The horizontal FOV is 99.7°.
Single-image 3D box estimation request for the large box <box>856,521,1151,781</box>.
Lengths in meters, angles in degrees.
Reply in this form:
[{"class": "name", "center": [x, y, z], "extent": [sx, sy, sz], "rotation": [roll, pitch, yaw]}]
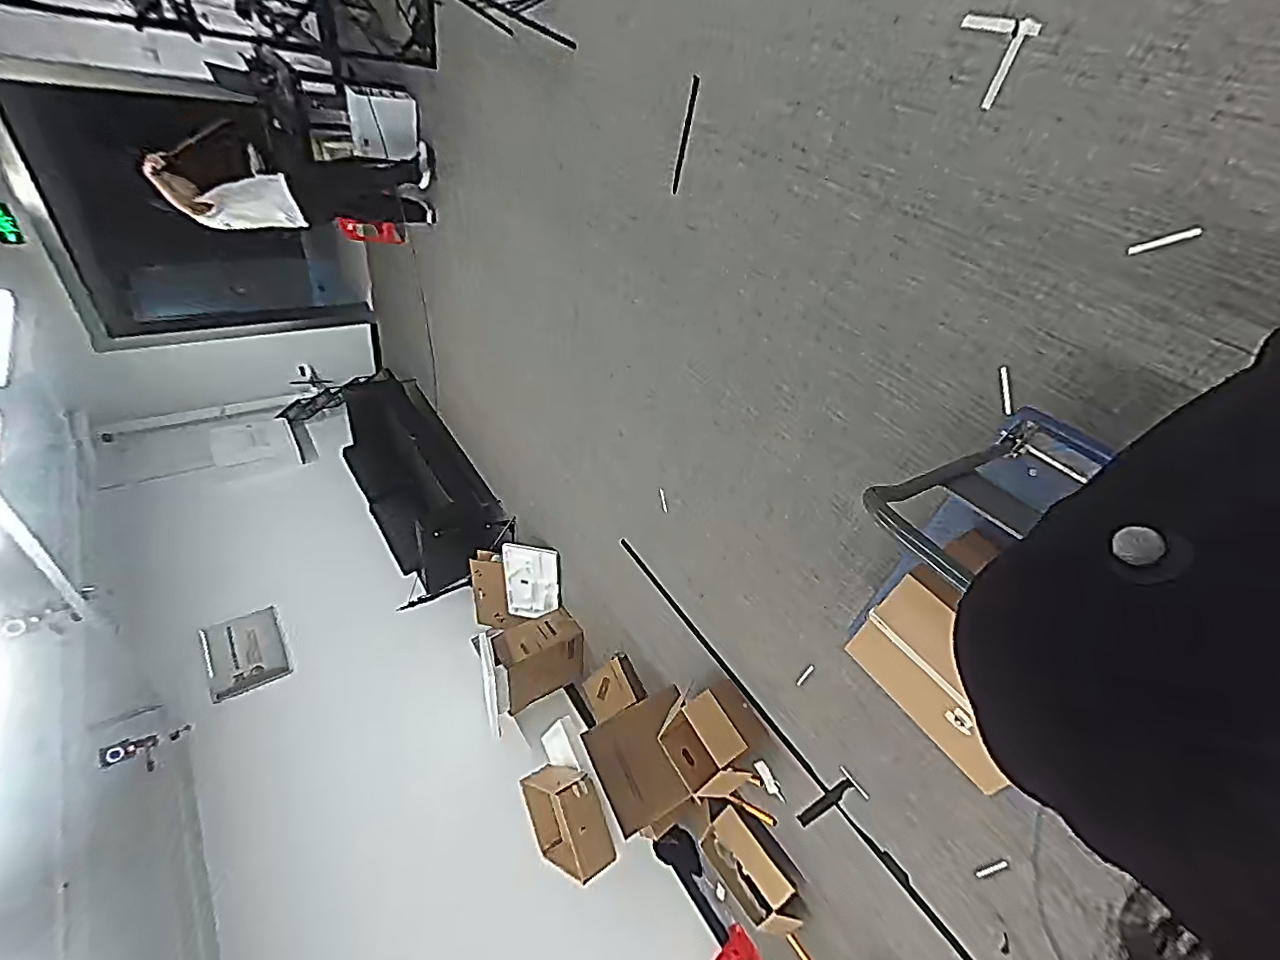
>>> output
[{"class": "large box", "center": [0.799, 0.364, 1.232], "extent": [0.408, 0.320, 0.320], "rotation": [47, 140, 32]}]
